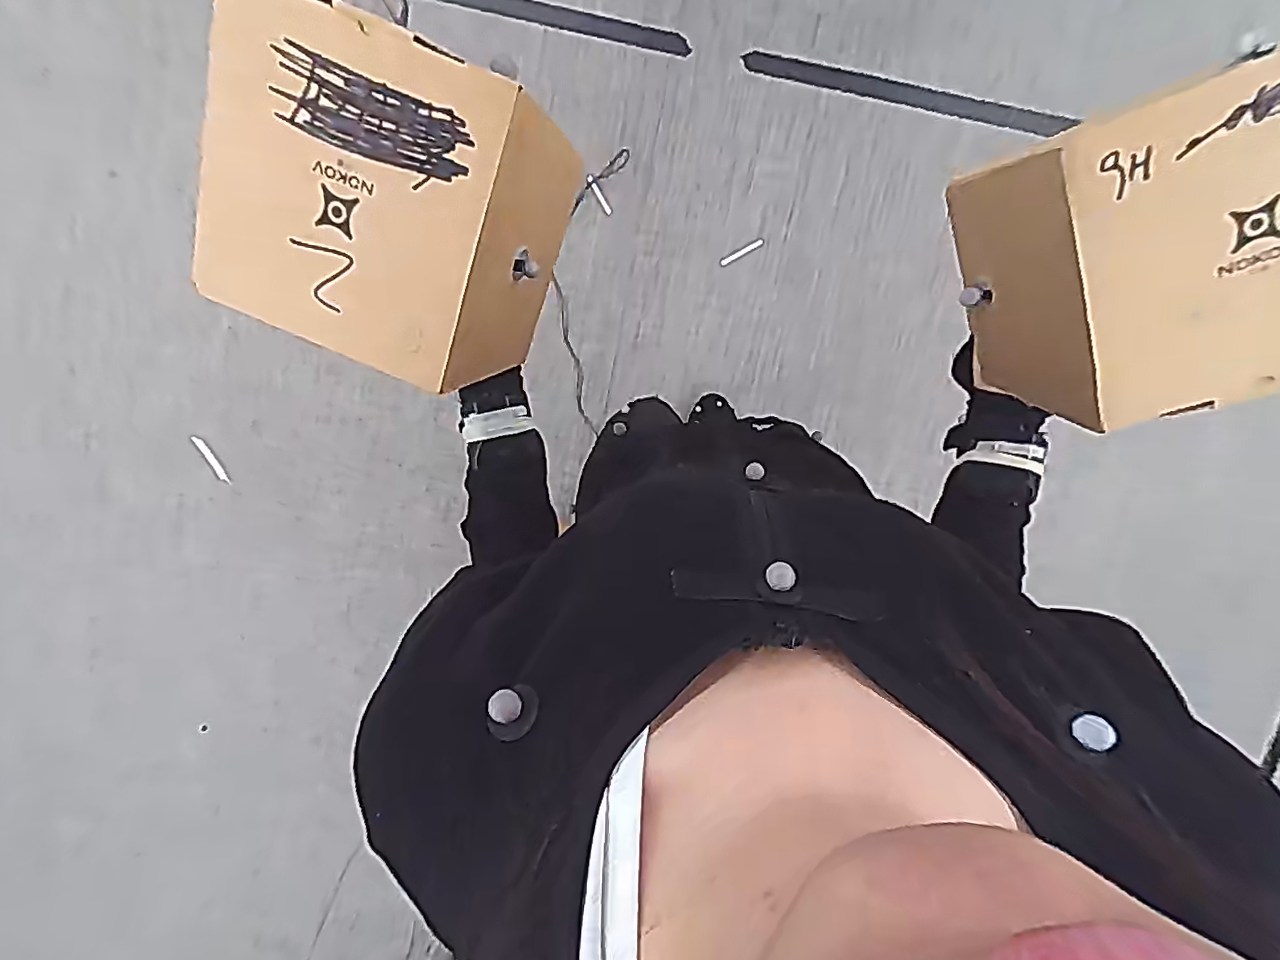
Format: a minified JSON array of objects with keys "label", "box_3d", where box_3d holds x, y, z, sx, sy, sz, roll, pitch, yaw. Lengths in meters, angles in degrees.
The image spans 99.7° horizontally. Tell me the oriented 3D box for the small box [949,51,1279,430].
[{"label":"small box","box_3d":[0.344,-0.160,0.373,0.168,0.176,0.179,-19,108,14]}]
